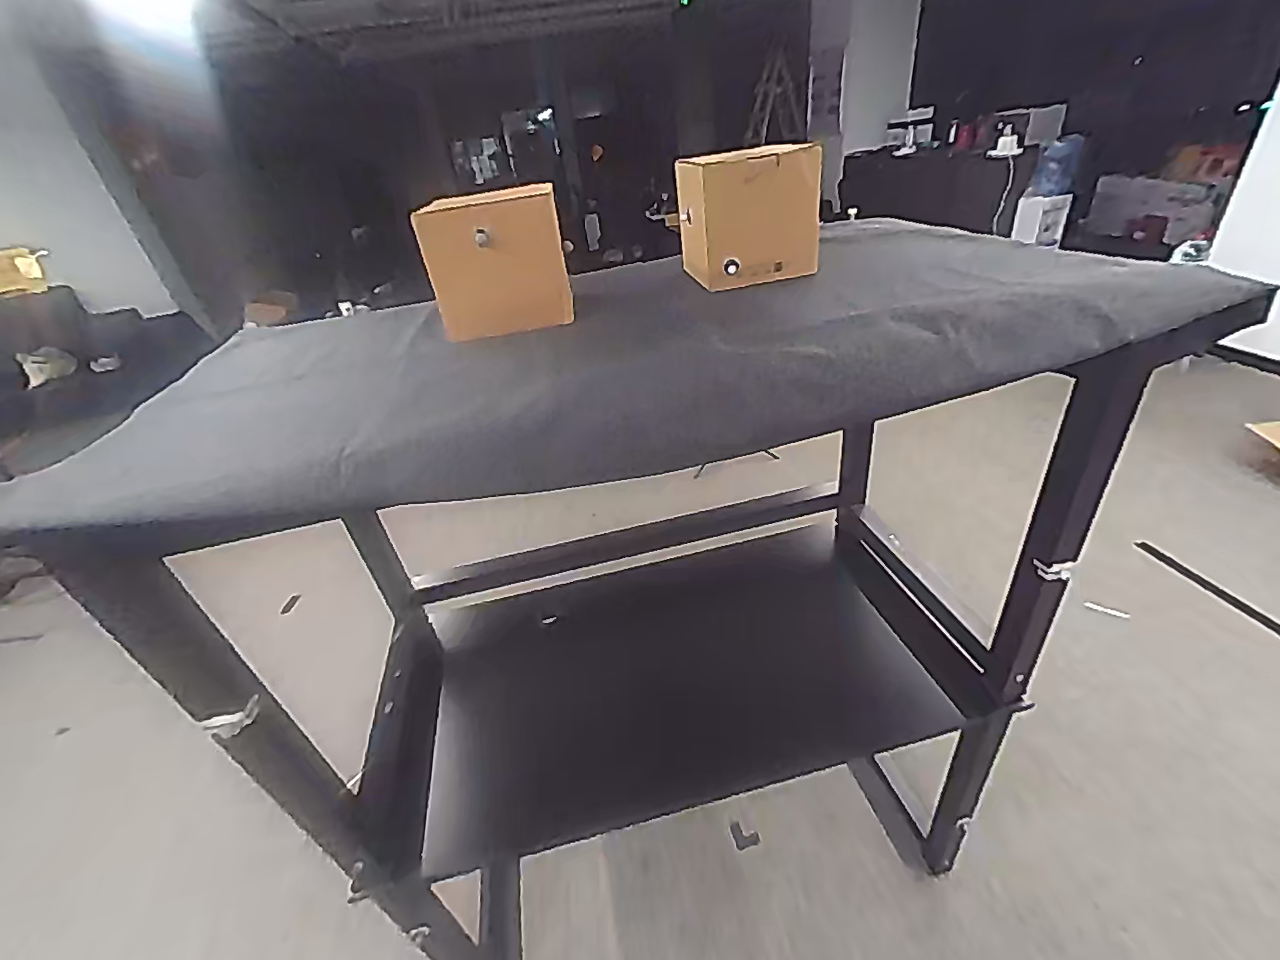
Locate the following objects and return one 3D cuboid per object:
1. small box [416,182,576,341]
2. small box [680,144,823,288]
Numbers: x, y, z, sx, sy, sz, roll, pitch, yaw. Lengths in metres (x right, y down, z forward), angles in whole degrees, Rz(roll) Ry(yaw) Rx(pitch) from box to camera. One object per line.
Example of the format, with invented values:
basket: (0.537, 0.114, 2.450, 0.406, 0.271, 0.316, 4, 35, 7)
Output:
small box: (-0.189, -0.313, 0.773, 0.179, 0.176, 0.168, -10, 33, -1)
small box: (0.164, -0.400, 0.824, 0.168, 0.176, 0.179, -10, 32, -3)
